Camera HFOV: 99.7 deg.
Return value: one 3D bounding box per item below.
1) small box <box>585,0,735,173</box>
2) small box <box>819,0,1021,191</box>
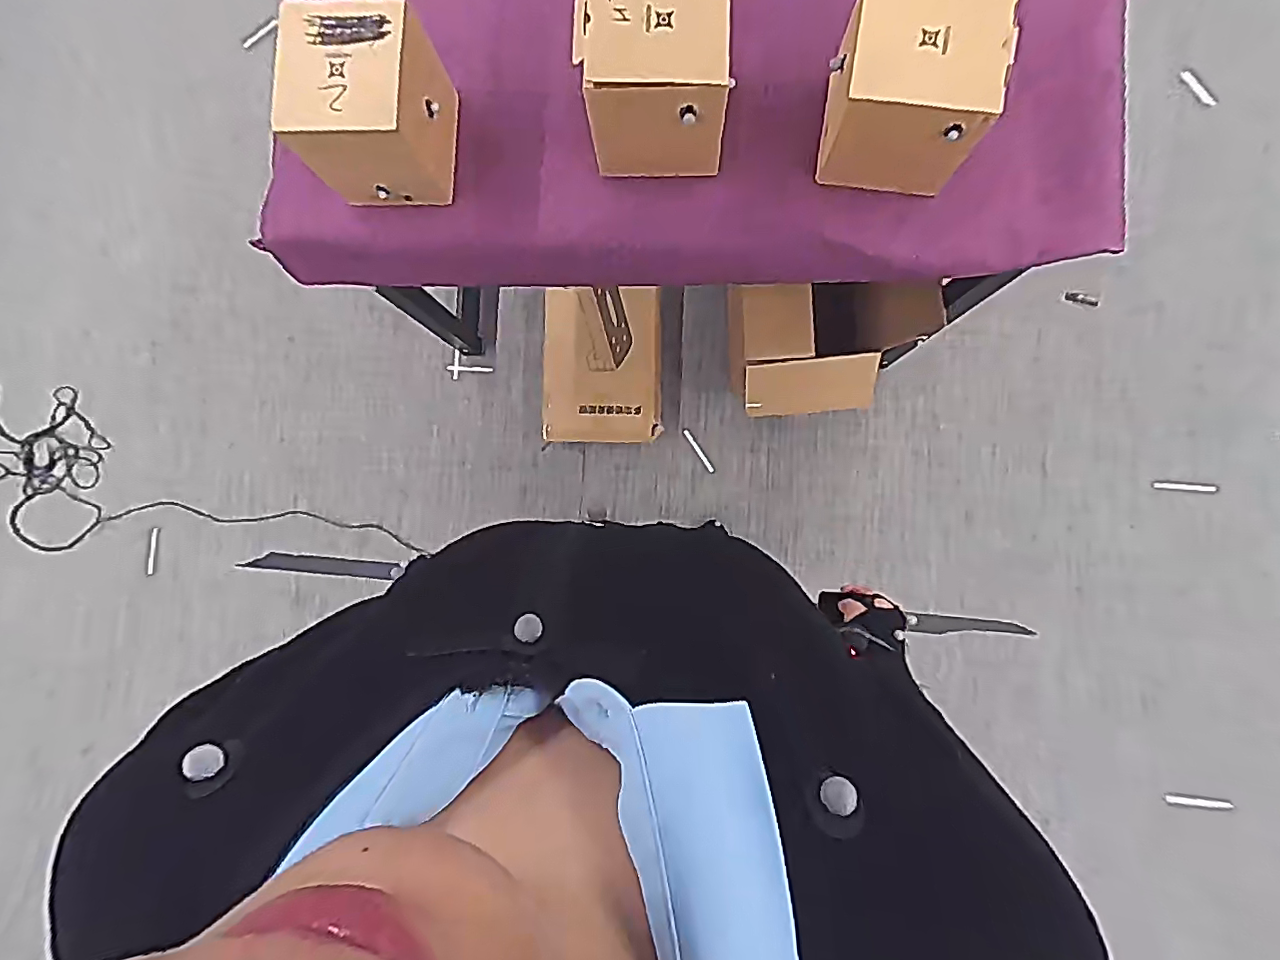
[{"bbox_3d":[0.028,-0.535,0.717,0.179,0.176,0.168,1,85,4],"label":"small box"},{"bbox_3d":[0.344,-0.502,0.696,0.179,0.176,0.168,9,88,4],"label":"small box"}]
